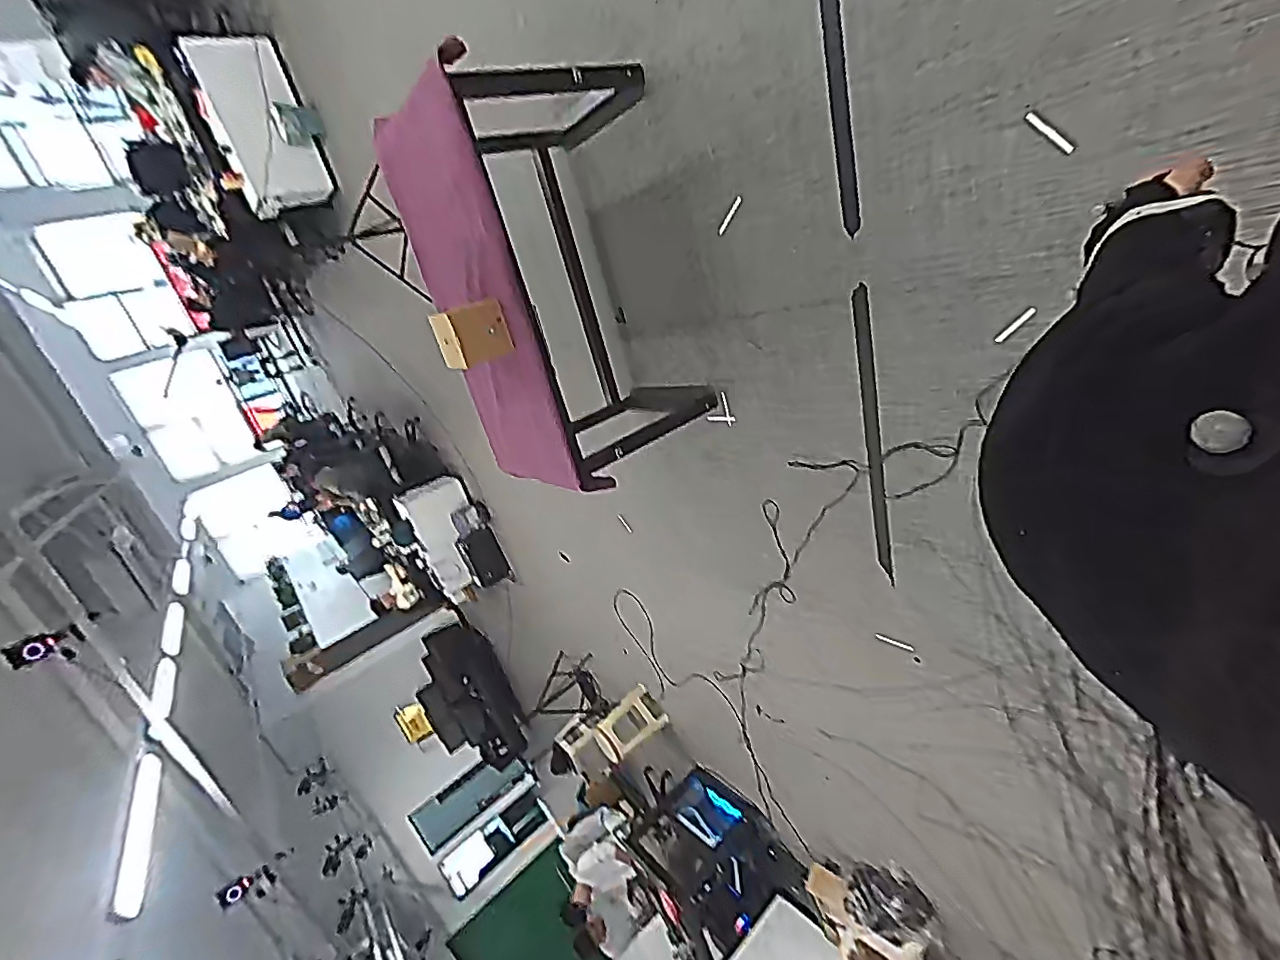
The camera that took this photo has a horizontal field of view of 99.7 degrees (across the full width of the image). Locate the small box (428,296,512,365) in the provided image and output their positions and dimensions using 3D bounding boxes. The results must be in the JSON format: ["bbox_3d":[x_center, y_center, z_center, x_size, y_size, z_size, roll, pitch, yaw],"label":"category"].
[{"bbox_3d":[-0.522,-0.461,1.670,0.179,0.176,0.168,16,129,50],"label":"small box"}]
